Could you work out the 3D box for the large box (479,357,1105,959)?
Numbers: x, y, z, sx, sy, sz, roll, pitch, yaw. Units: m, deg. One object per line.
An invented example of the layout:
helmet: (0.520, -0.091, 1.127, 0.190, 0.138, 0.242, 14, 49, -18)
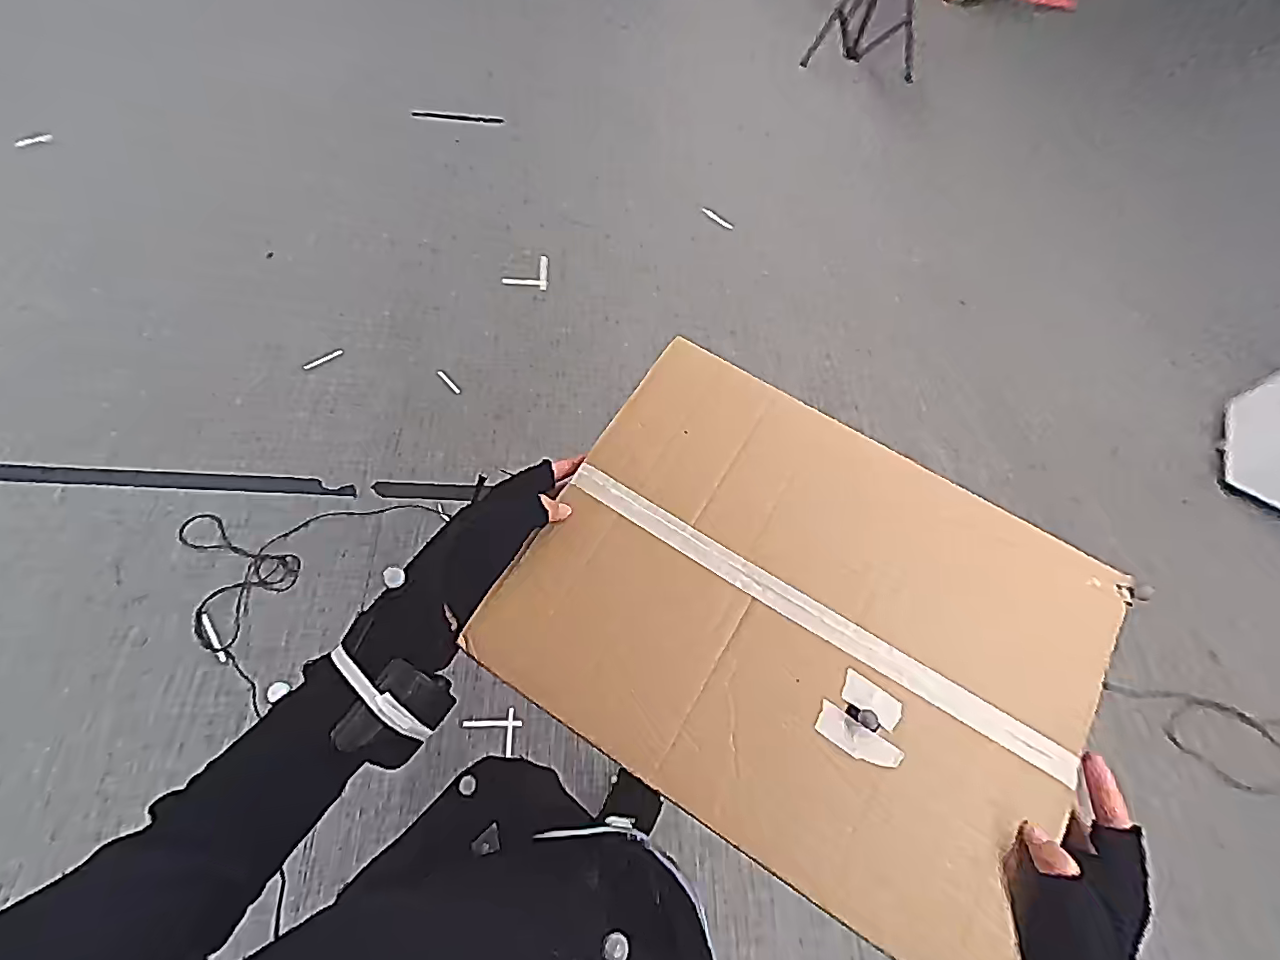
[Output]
large box: (0.120, 0.153, 0.553, 0.408, 0.320, 0.320, 31, 72, 10)
